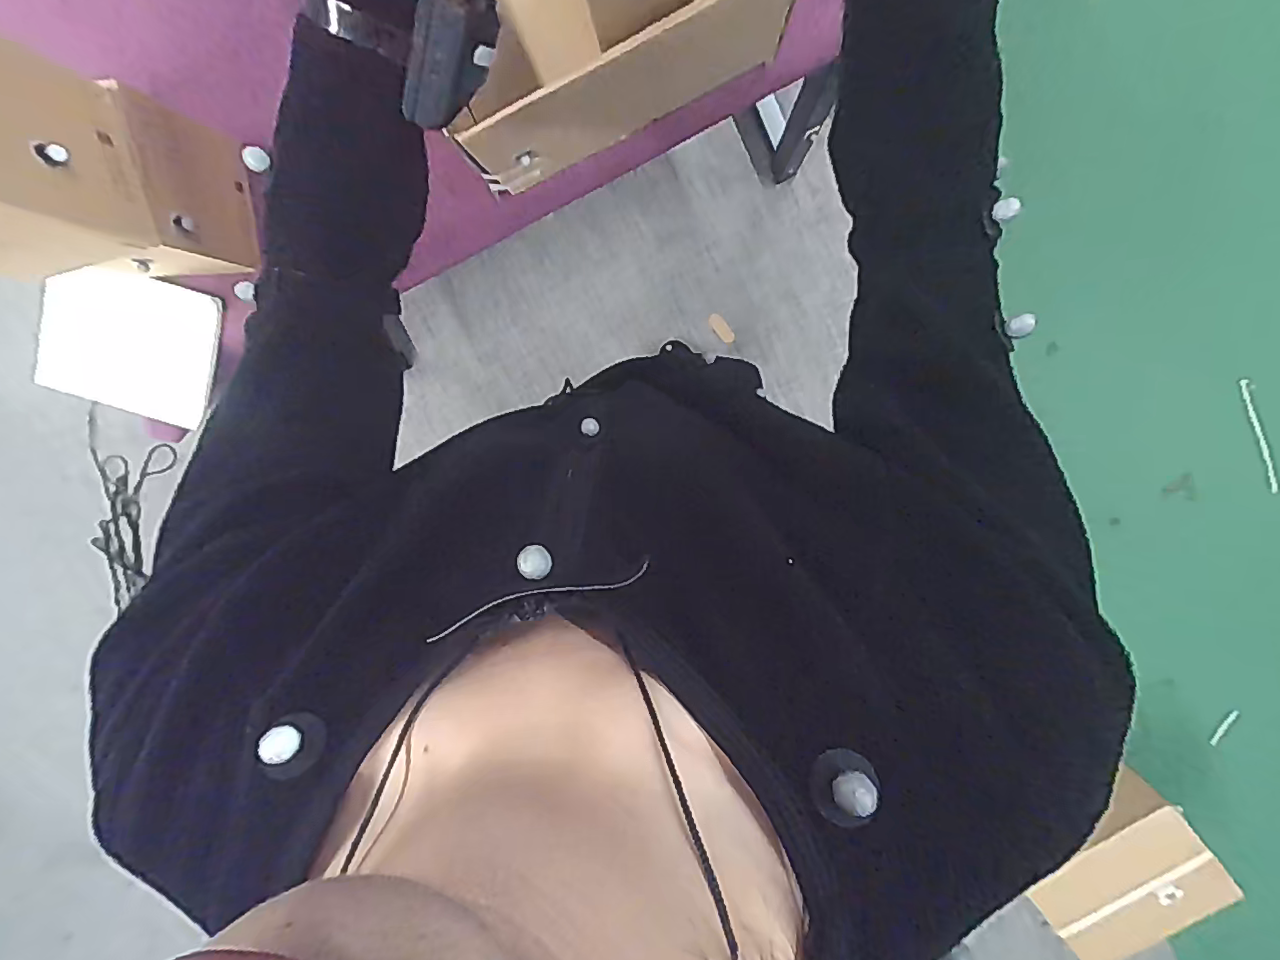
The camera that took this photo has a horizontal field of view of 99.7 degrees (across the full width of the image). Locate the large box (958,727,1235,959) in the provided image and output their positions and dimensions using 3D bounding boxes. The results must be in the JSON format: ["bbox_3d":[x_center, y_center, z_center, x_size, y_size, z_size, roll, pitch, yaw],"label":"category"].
[{"bbox_3d":[1.173,0.963,1.442,0.408,0.320,0.320,-39,96,8],"label":"large box"}]

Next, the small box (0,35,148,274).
[{"bbox_3d":[-0.630,-0.311,0.516,0.179,0.176,0.168,-11,99,7],"label":"small box"}]
